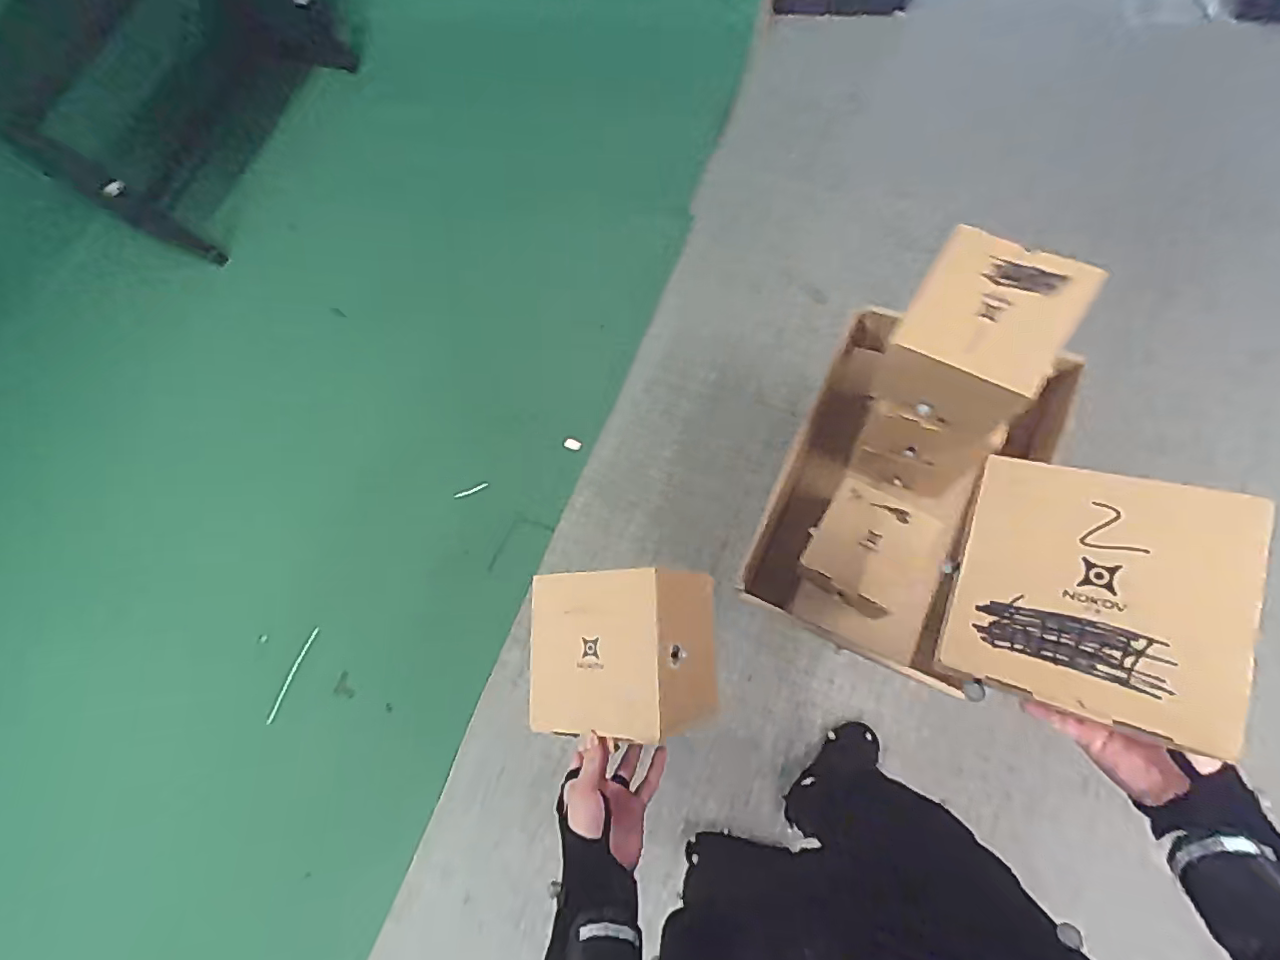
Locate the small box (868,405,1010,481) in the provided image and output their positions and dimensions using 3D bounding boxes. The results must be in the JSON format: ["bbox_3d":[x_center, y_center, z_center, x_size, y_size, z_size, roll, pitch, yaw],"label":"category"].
[{"bbox_3d":[0.475,-0.121,0.852,0.168,0.176,0.179,21,81,20],"label":"small box"}]

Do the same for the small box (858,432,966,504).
[{"bbox_3d":[0.519,-0.077,1.002,0.168,0.176,0.179,21,81,21],"label":"small box"}]

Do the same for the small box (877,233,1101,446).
[{"bbox_3d":[0.430,-0.173,0.703,0.168,0.176,0.179,31,85,22],"label":"small box"}]
